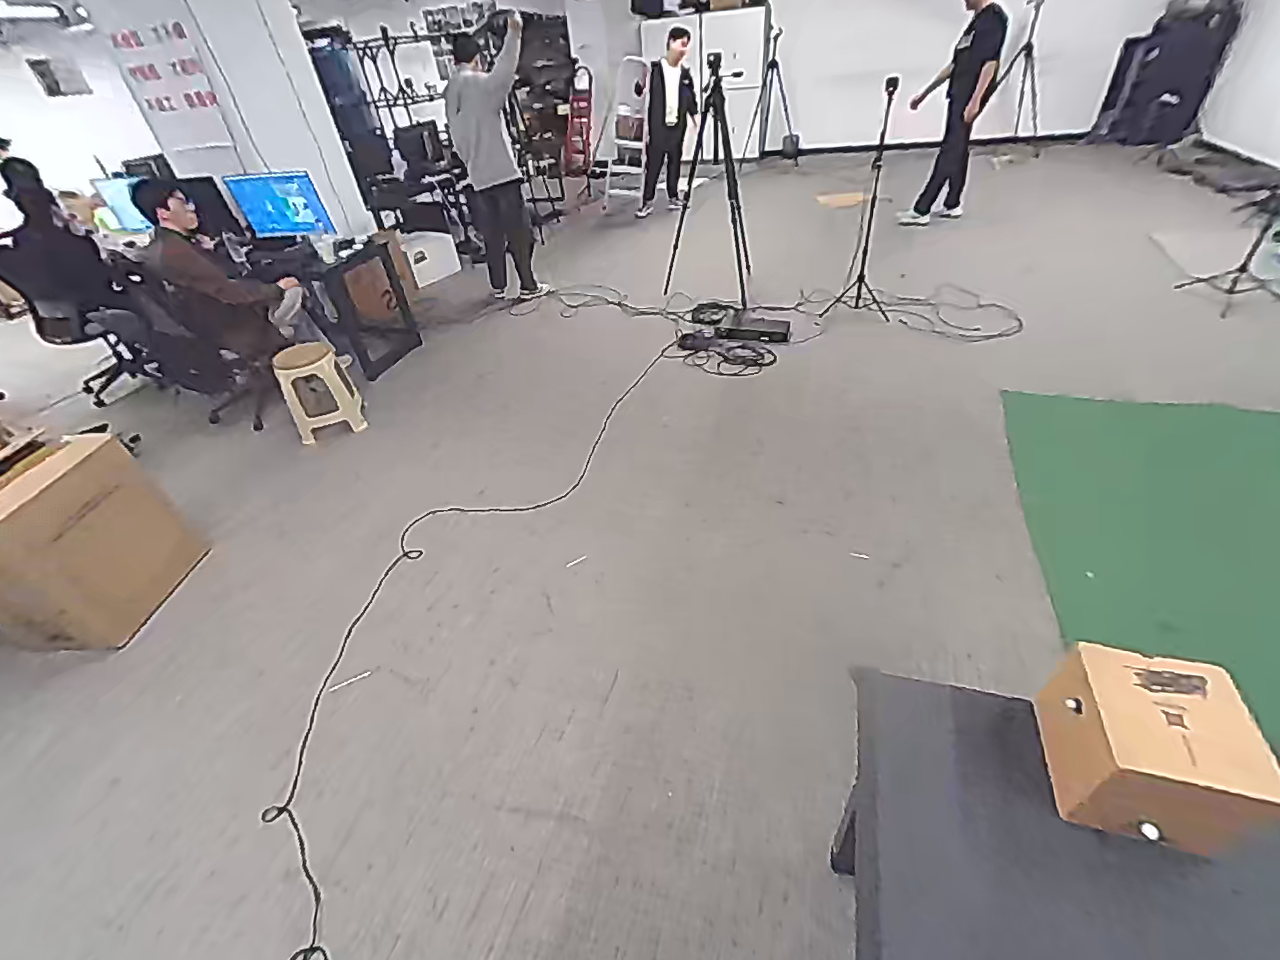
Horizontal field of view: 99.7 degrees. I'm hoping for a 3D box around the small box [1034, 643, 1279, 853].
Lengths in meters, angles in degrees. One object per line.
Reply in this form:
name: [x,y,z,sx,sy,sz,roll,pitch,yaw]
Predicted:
small box: [0.661,0.353,0.720,0.168,0.176,0.179,8,42,16]
